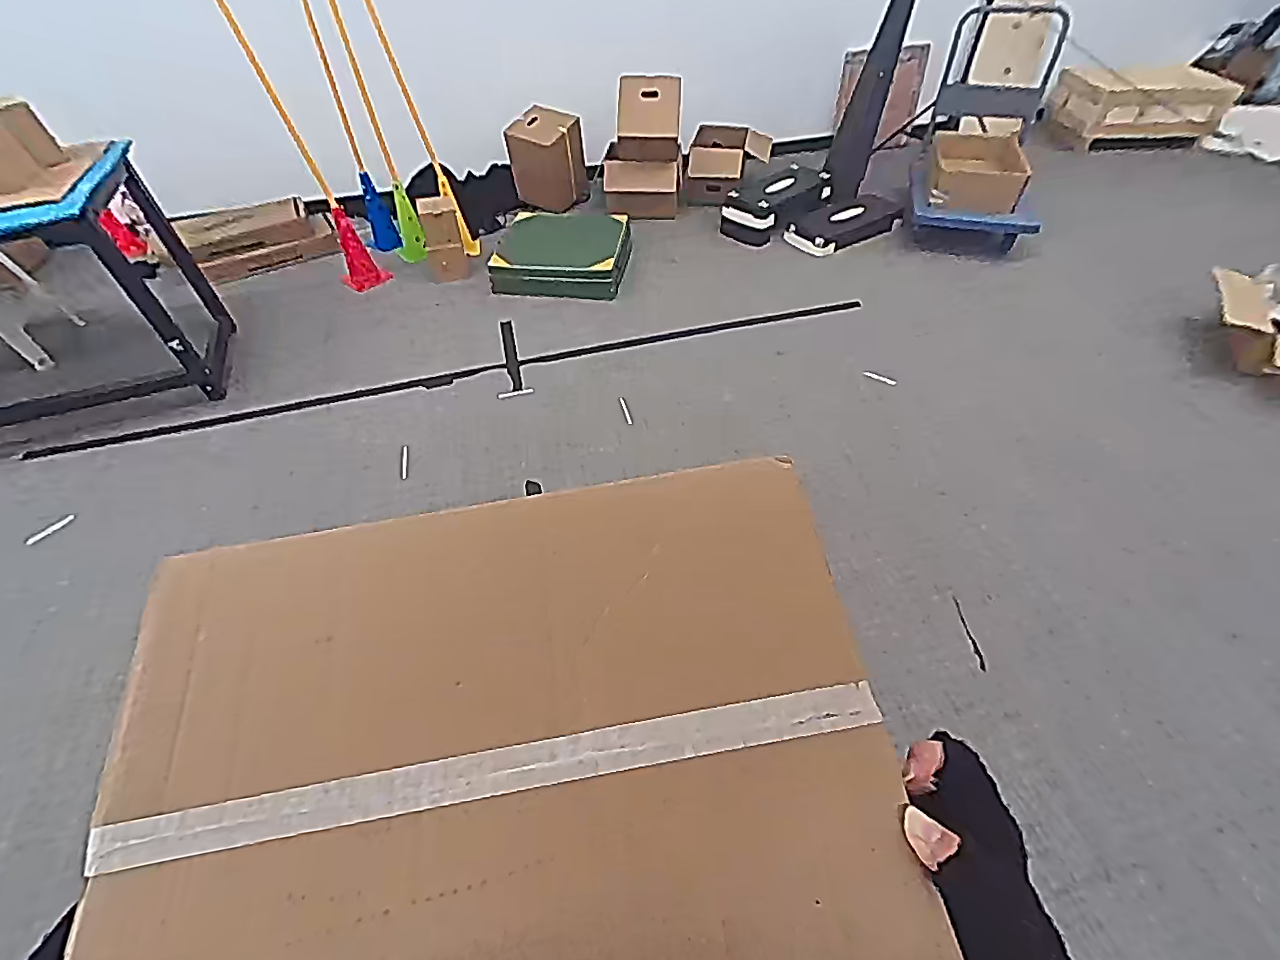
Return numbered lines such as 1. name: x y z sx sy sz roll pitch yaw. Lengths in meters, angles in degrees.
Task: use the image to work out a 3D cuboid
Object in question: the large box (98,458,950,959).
1. large box: -0.069 0.220 0.426 0.408 0.320 0.320 -9 63 -2
